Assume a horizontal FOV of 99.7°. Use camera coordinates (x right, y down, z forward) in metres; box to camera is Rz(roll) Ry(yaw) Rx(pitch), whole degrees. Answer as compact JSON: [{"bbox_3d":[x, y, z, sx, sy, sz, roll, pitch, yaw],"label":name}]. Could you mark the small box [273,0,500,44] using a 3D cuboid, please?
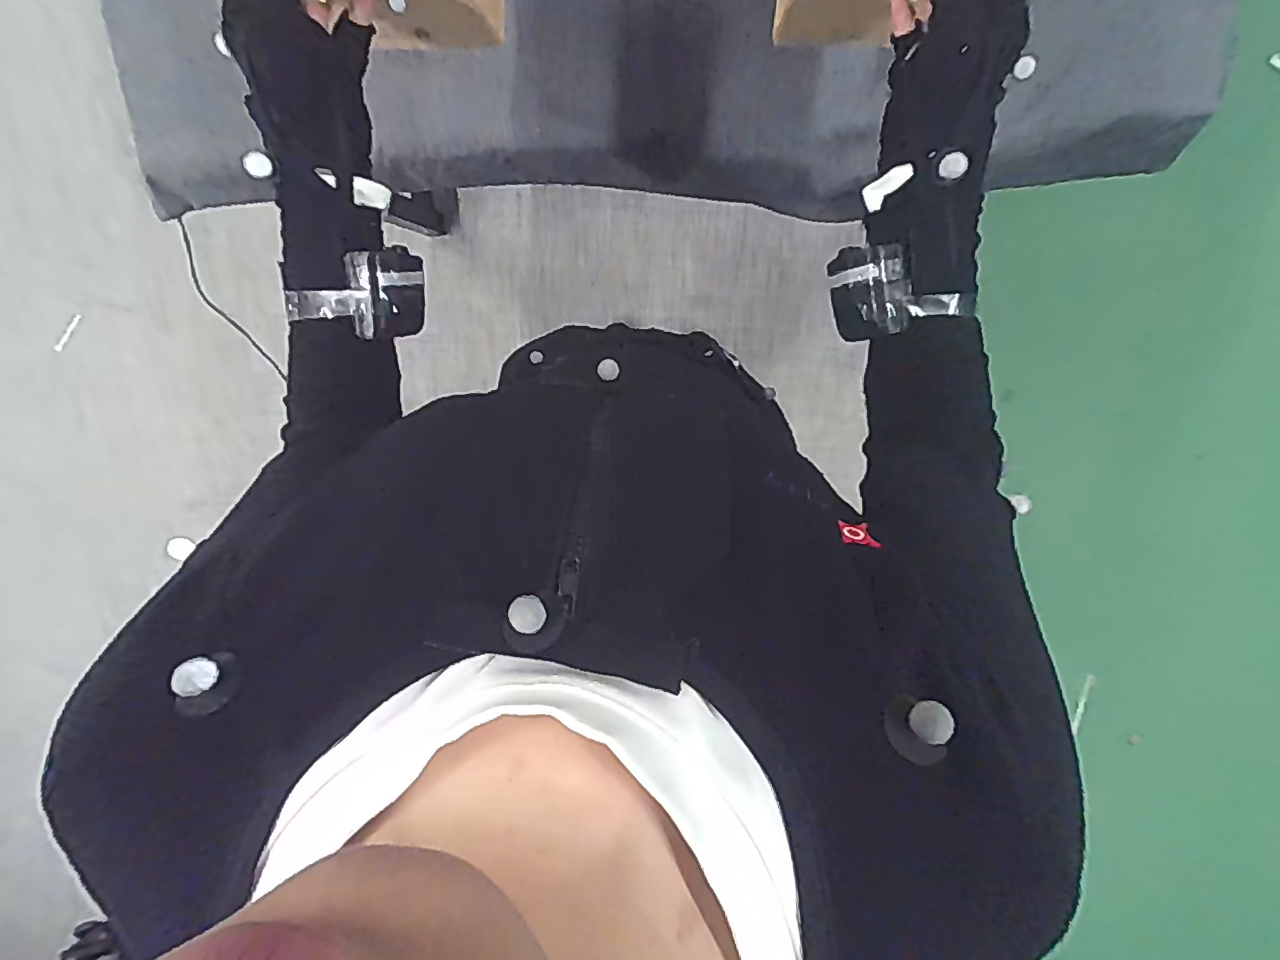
[{"bbox_3d":[-0.196,-0.424,0.353,0.168,0.176,0.179,4,104,5],"label":"small box"}]
